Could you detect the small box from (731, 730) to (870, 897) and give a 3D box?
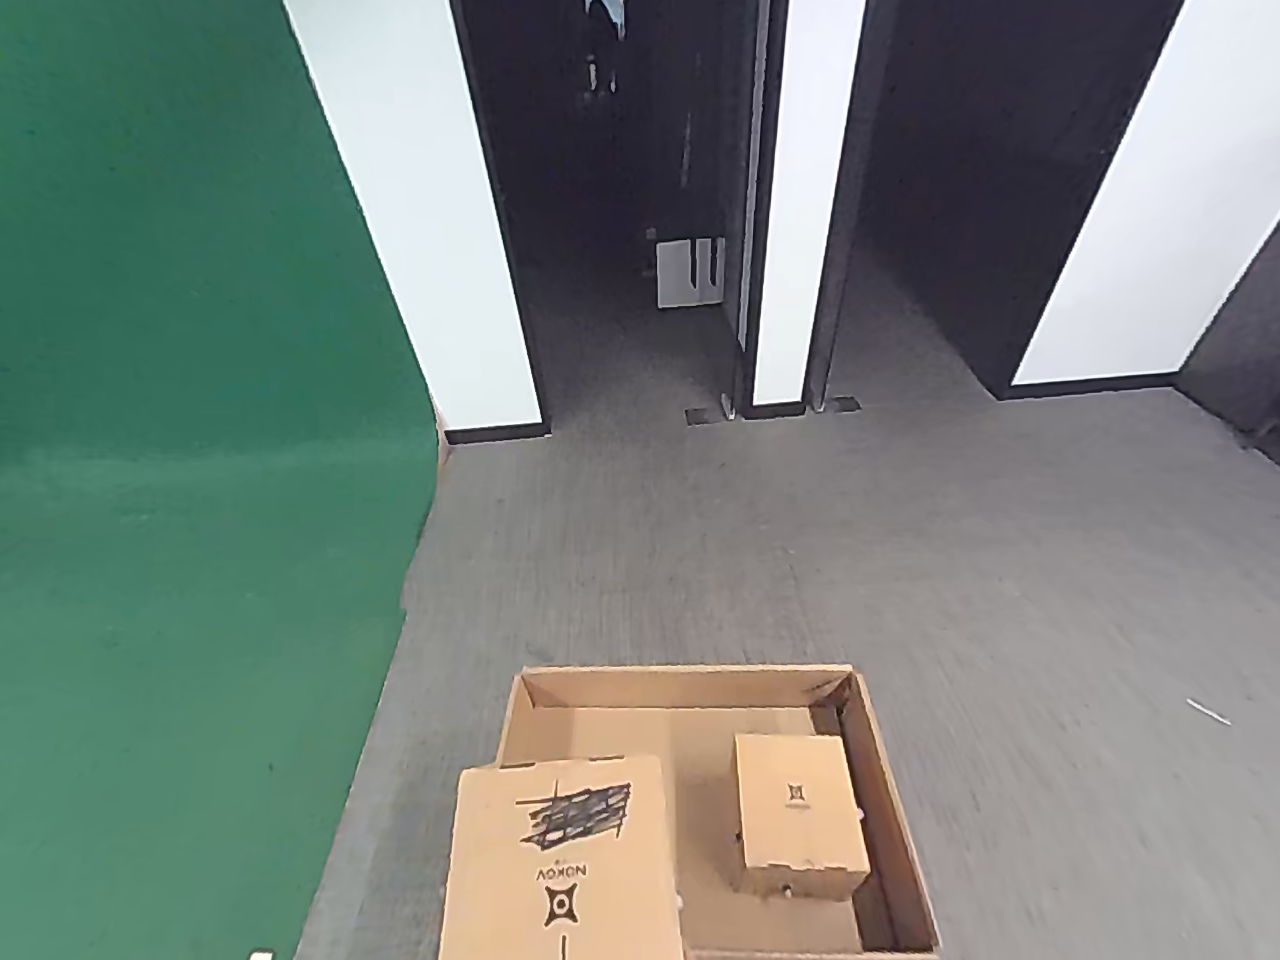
[{"bbox_3d":[0.231,0.510,0.830,0.168,0.176,0.179,-1,43,5],"label":"small box"}]

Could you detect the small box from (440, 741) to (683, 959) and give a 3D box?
[{"bbox_3d":[-0.062,0.347,0.455,0.168,0.176,0.179,-3,44,-6],"label":"small box"}]
